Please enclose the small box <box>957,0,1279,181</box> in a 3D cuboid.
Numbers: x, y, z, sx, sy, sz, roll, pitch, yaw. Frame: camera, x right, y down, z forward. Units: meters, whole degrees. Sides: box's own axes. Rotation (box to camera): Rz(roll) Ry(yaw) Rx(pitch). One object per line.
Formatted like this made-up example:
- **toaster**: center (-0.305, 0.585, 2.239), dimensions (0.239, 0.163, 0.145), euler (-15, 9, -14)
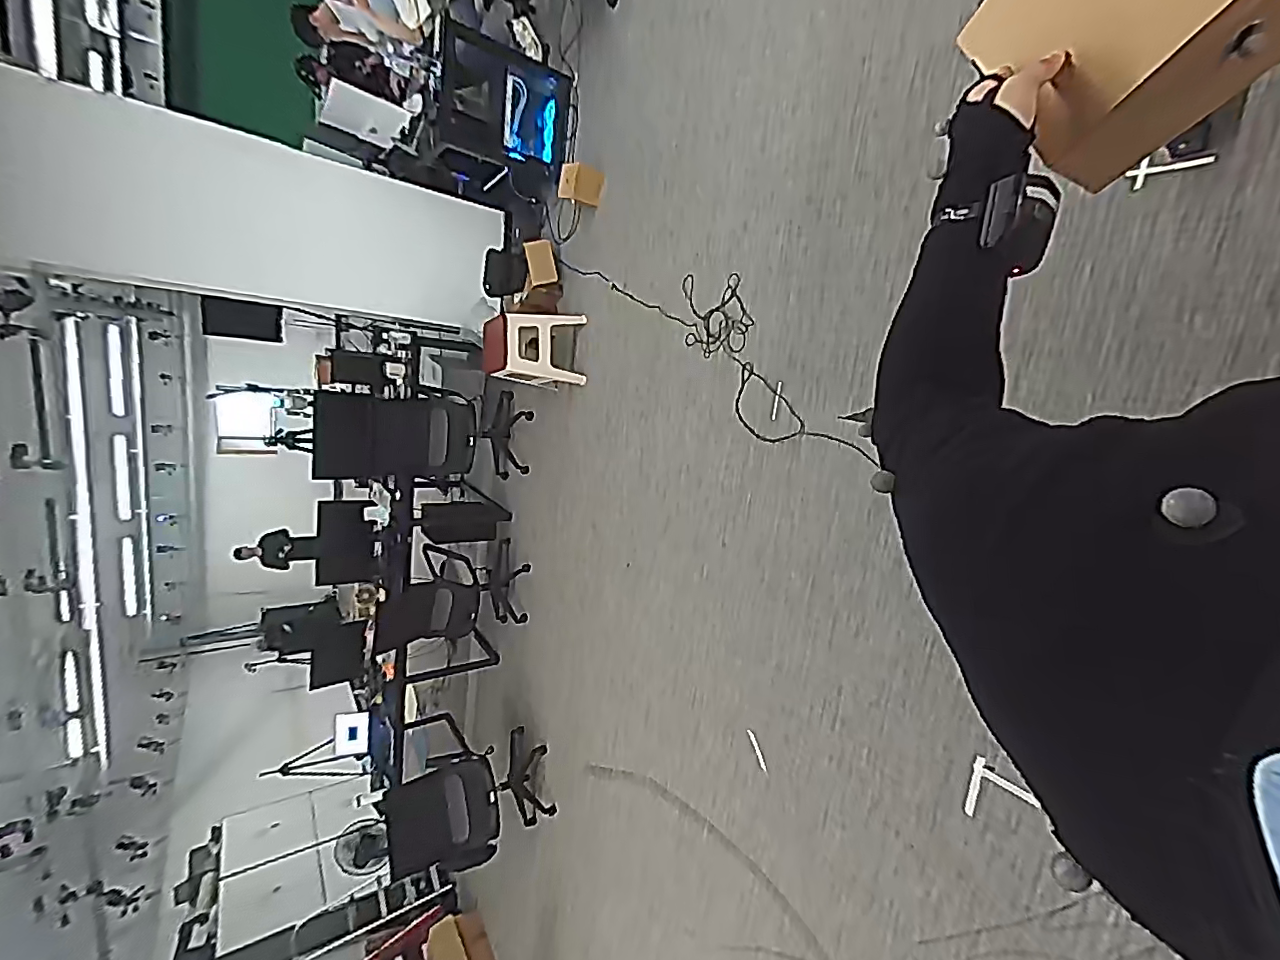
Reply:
- **small box**: center (0.437, -0.408, 0.485), dimensions (0.179, 0.176, 0.168), euler (-39, 69, 50)
